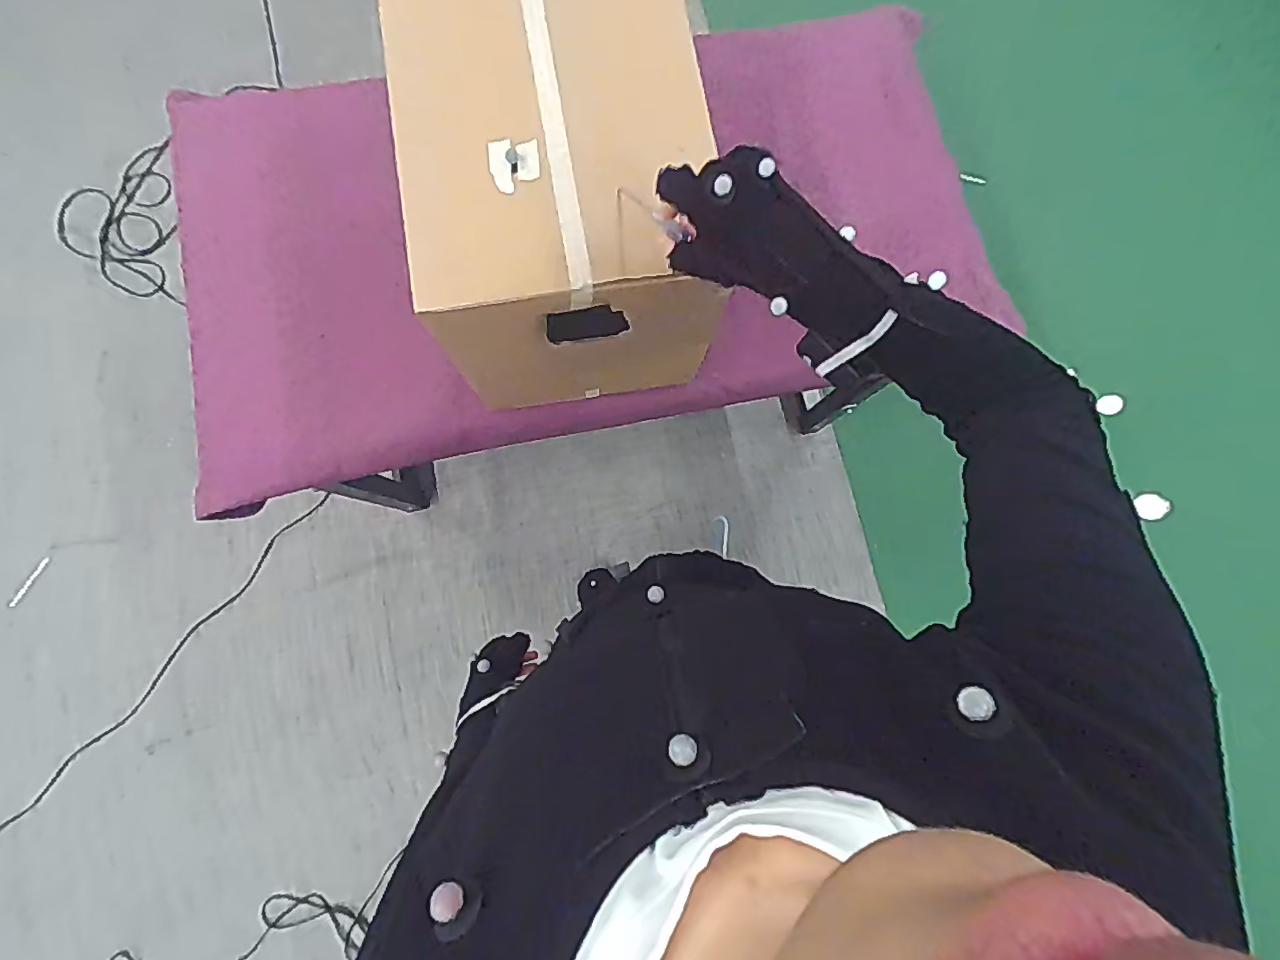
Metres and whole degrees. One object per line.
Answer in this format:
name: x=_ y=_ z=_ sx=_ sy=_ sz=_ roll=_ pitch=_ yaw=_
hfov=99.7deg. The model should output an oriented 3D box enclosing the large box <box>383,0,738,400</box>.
large box: x=-0.098 y=-0.355 z=0.698 sx=0.320 sy=0.320 sz=0.408 roll=-9 pitch=82 yaw=-4
